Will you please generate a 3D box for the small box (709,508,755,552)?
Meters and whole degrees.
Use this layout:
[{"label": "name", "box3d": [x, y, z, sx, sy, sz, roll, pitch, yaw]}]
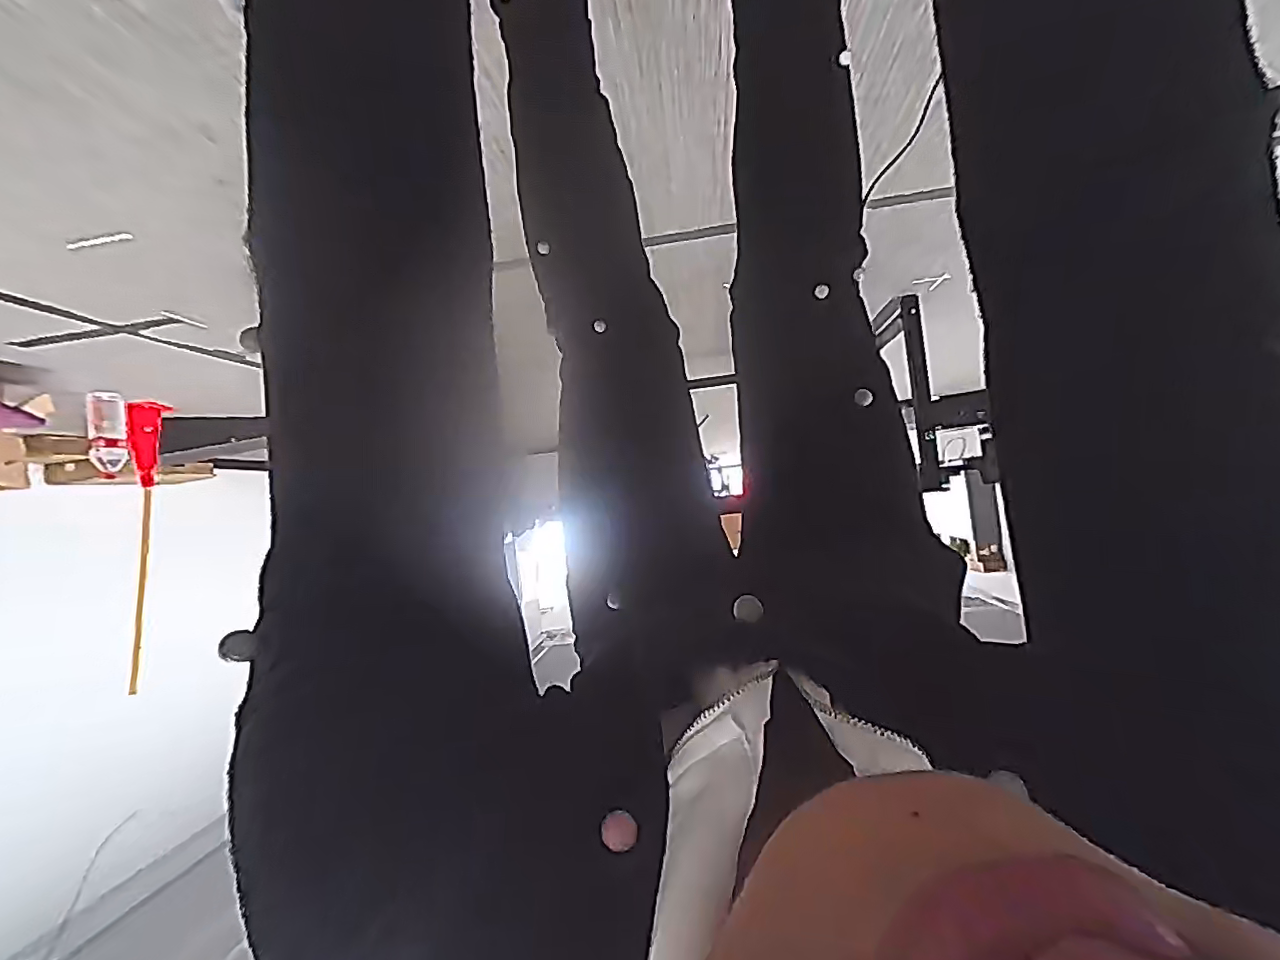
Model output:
[{"label": "small box", "box3d": [0.404, 0.212, 2.367, 0.179, 0.176, 0.168, -8, 178, 11]}]
